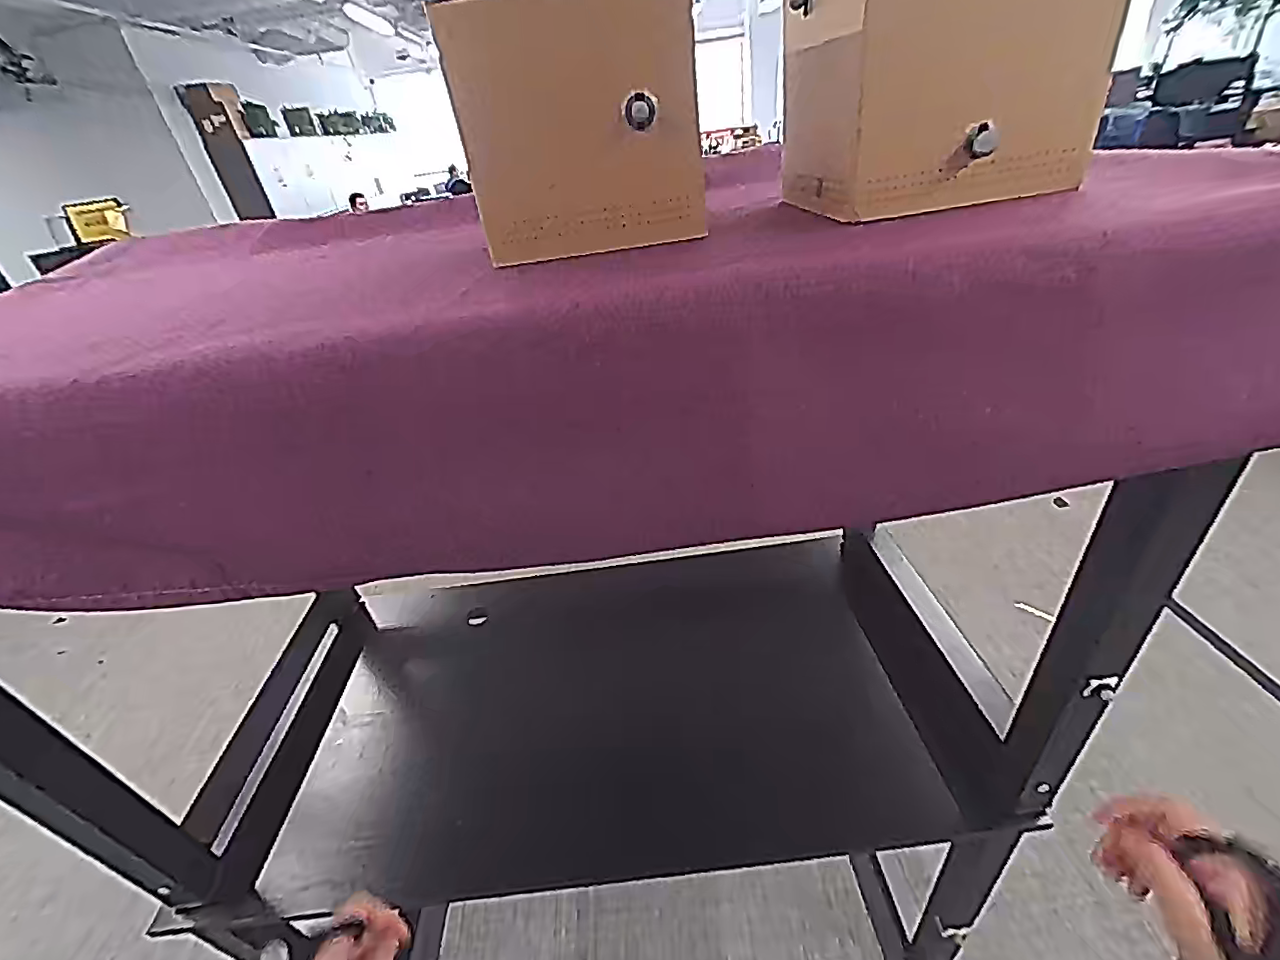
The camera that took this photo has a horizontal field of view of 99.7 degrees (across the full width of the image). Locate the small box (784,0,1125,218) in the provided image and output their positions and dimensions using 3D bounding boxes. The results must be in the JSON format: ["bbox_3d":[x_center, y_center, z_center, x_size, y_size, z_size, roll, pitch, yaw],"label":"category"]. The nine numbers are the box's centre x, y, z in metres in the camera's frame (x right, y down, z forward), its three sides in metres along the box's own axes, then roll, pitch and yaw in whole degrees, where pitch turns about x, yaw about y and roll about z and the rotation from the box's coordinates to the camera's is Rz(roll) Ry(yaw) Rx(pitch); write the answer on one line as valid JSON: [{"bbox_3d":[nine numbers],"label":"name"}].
[{"bbox_3d":[0.219,-0.314,0.415,0.179,0.176,0.168,-9,32,-1],"label":"small box"}]

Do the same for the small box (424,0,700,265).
[{"bbox_3d":[-0.046,-0.292,0.451,0.179,0.176,0.168,-8,32,2],"label":"small box"}]
